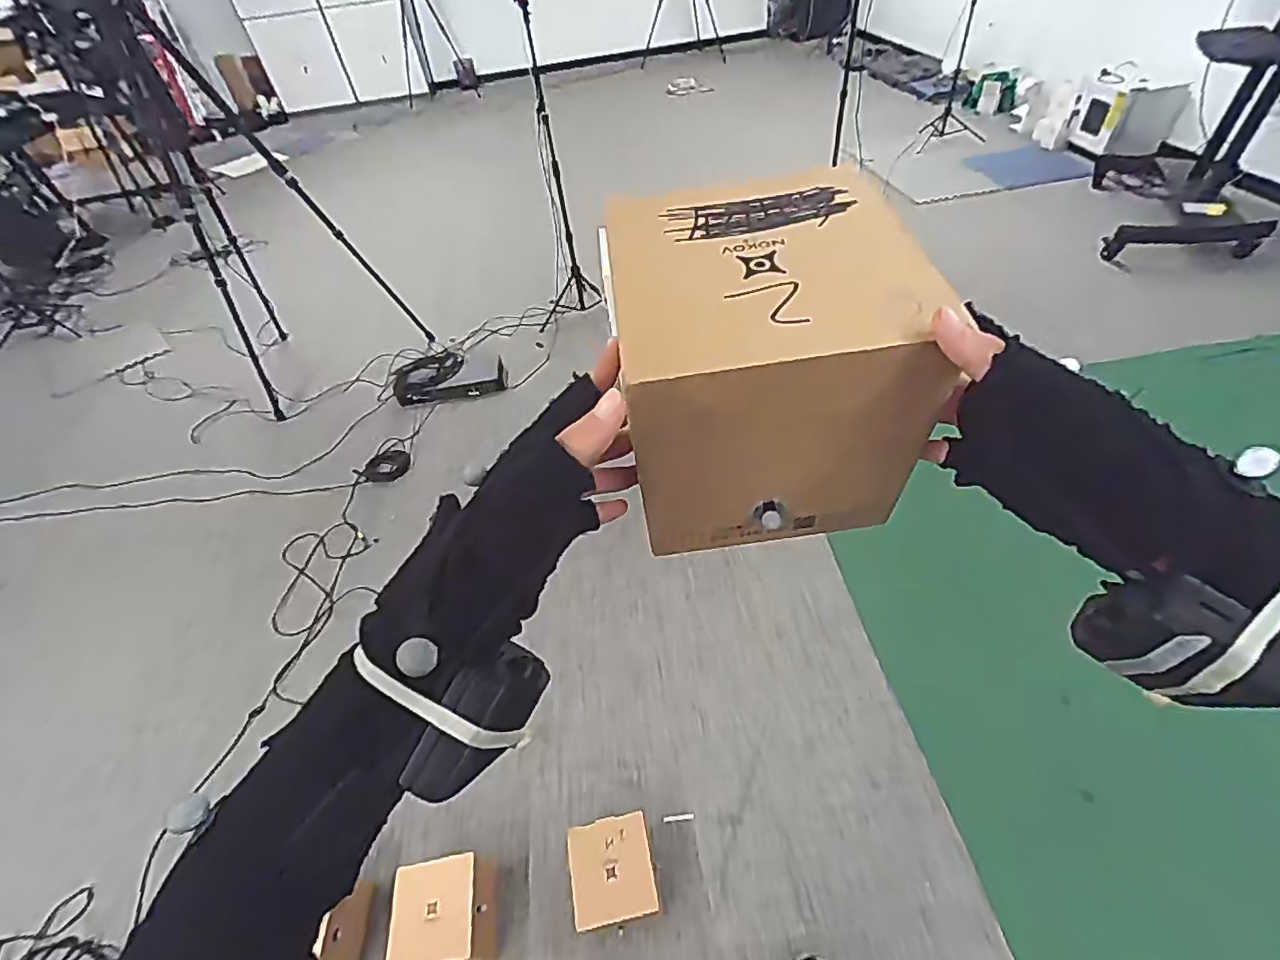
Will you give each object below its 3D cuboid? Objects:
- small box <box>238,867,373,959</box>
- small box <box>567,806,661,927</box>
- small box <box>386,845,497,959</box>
[{"bbox_3d":[-0.695,0.940,1.141,0.168,0.176,0.179,-7,46,1],"label":"small box"},{"bbox_3d":[-0.054,0.829,1.155,0.168,0.176,0.179,-12,48,-4],"label":"small box"},{"bbox_3d":[-0.407,0.901,1.139,0.168,0.176,0.179,-11,48,-2],"label":"small box"}]
